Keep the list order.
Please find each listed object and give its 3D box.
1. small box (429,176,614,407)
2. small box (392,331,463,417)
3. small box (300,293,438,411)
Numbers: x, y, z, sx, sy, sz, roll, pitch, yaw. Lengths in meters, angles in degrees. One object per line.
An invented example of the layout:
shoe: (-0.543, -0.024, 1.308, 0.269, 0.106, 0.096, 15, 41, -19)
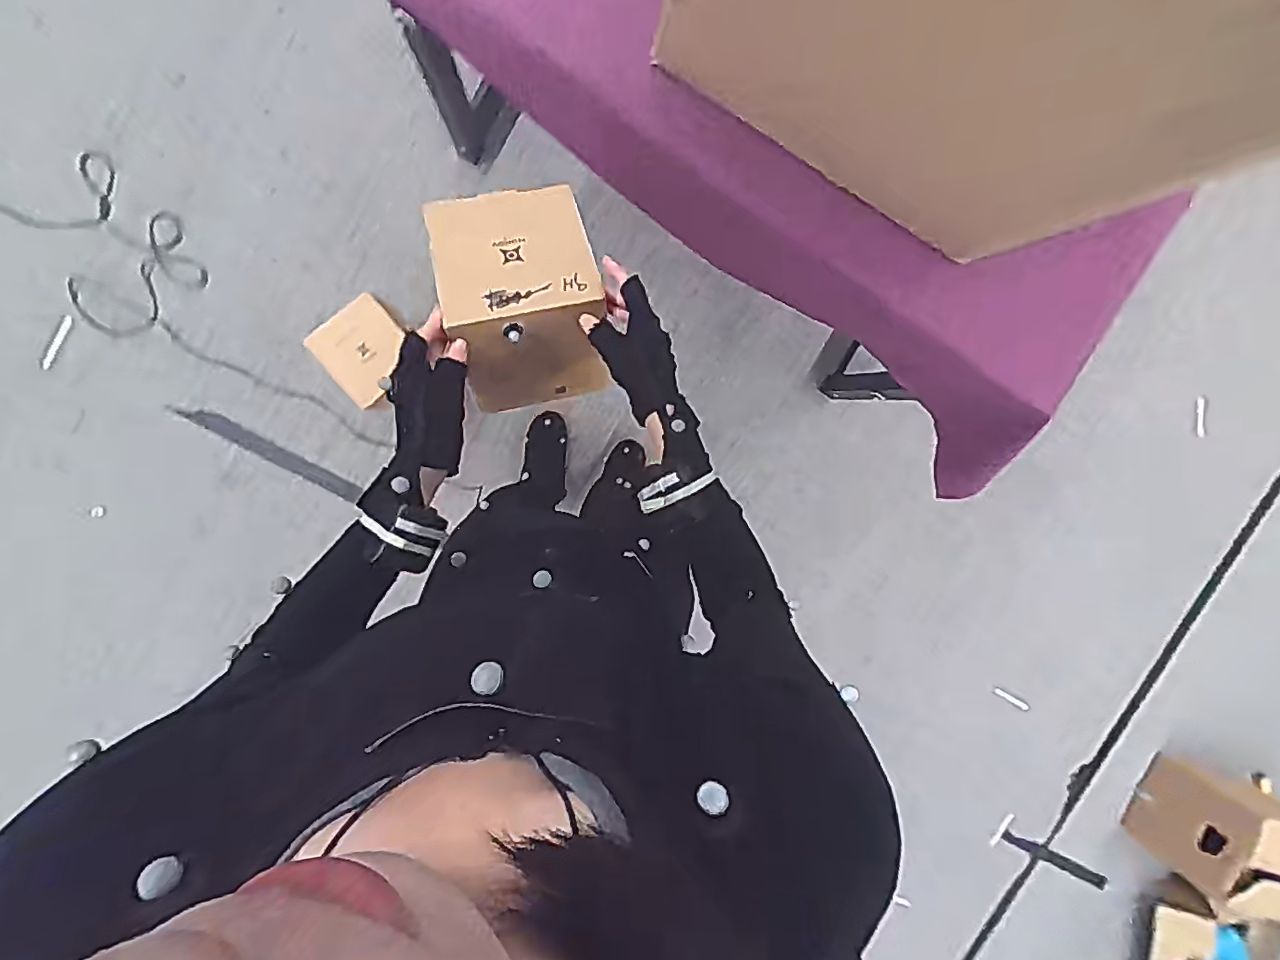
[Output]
small box: (-0.130, -0.211, 0.624, 0.168, 0.176, 0.179, -12, 67, -9)
small box: (-0.560, -0.267, 1.315, 0.179, 0.176, 0.168, 32, 93, -11)
small box: (-0.560, -0.265, 1.150, 0.168, 0.176, 0.179, -39, 101, -2)
